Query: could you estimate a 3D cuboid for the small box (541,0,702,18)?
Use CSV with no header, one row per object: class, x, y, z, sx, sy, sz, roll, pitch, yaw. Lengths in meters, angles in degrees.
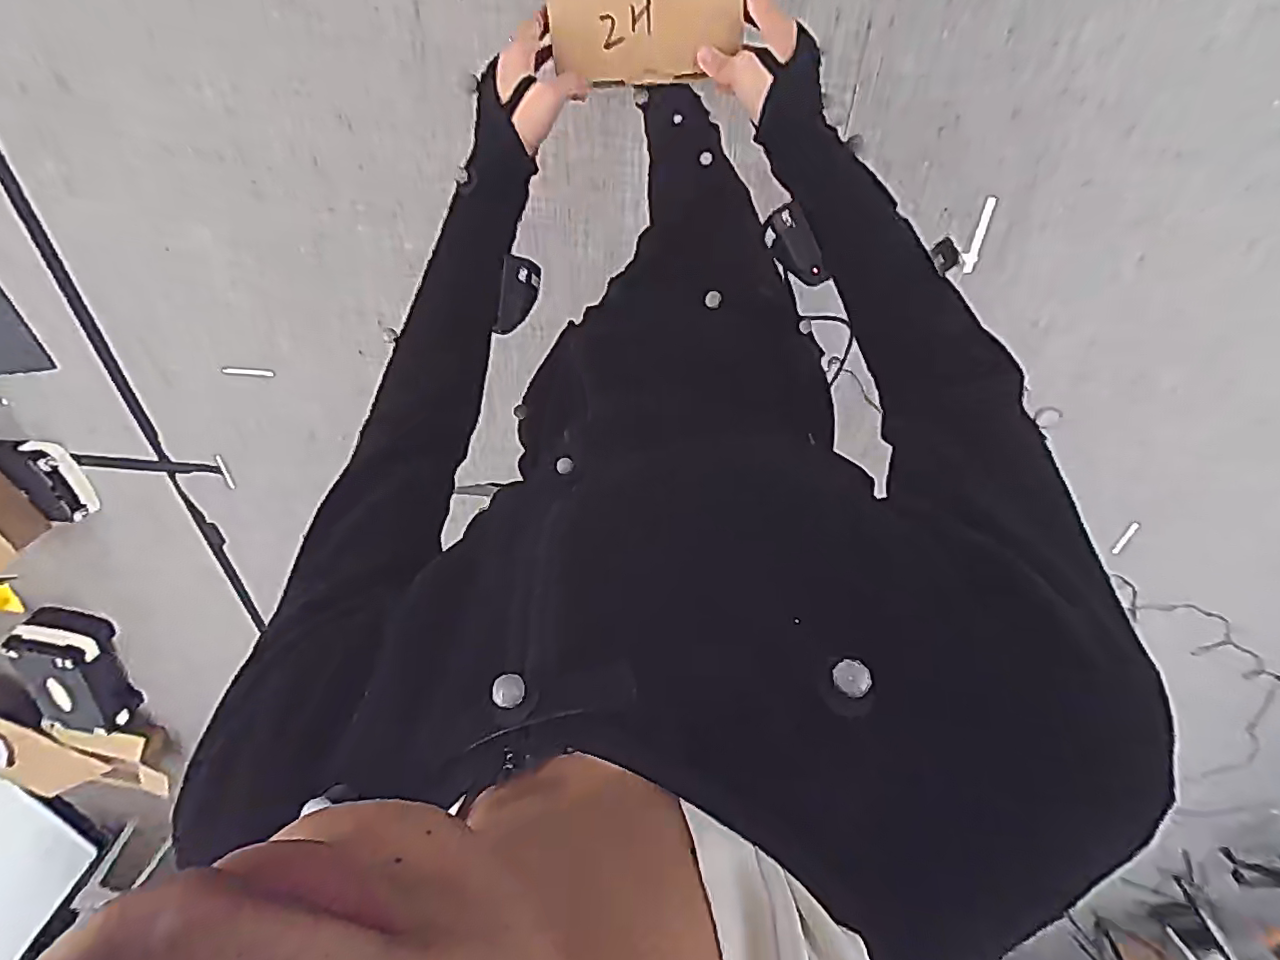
small box,-0.017,-0.491,0.423,0.168,0.176,0.179,-6,126,-1
